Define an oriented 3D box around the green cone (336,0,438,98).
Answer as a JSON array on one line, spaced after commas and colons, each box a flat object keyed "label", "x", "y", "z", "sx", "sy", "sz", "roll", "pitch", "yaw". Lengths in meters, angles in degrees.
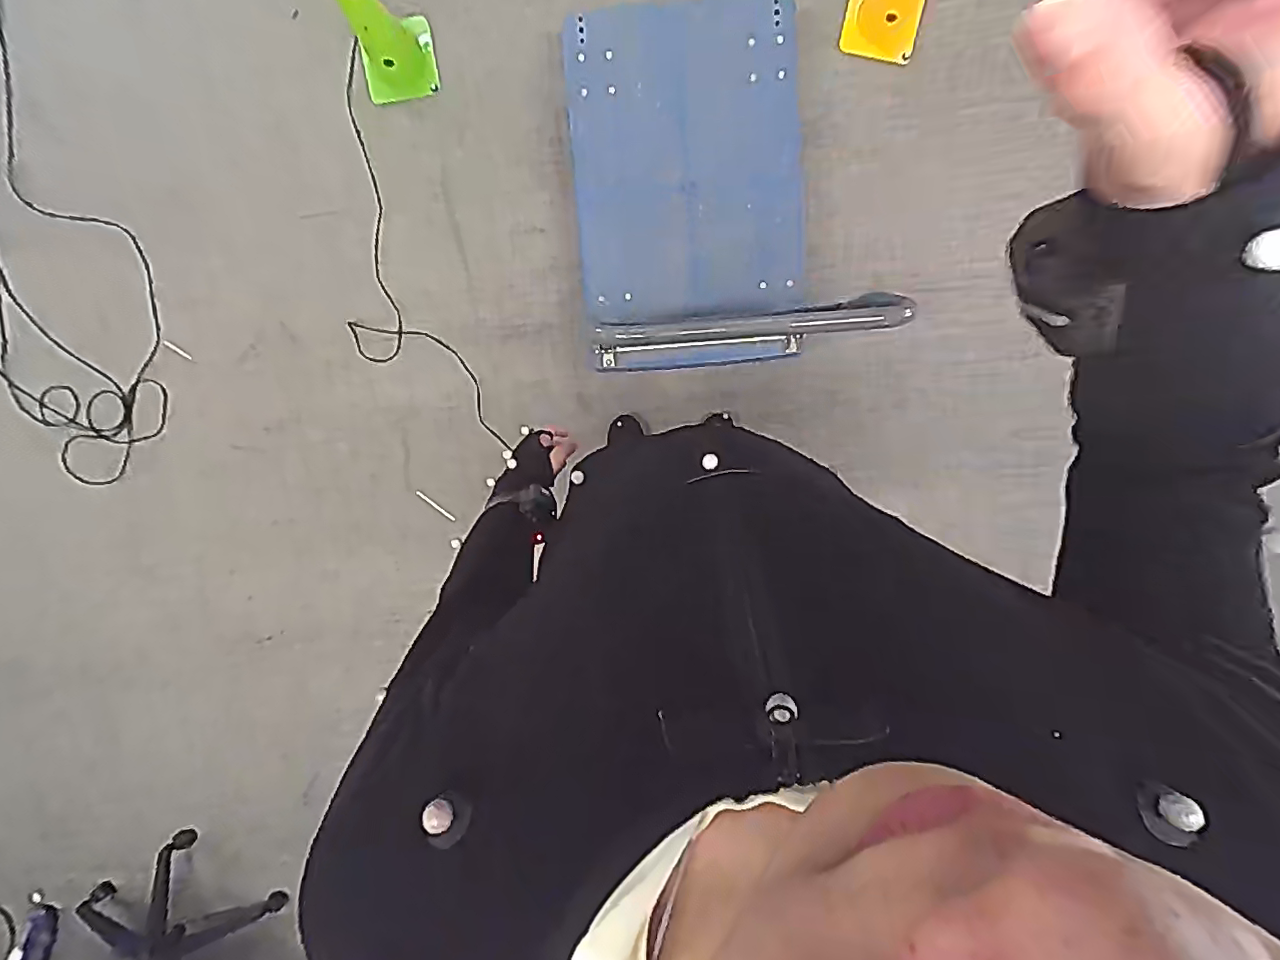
[{"label": "green cone", "x": -0.672, "y": -1.147, "z": 1.312, "sx": 0.202, "sy": 0.368, "sz": 0.200, "roll": -9, "pitch": 97, "yaw": 4}]
